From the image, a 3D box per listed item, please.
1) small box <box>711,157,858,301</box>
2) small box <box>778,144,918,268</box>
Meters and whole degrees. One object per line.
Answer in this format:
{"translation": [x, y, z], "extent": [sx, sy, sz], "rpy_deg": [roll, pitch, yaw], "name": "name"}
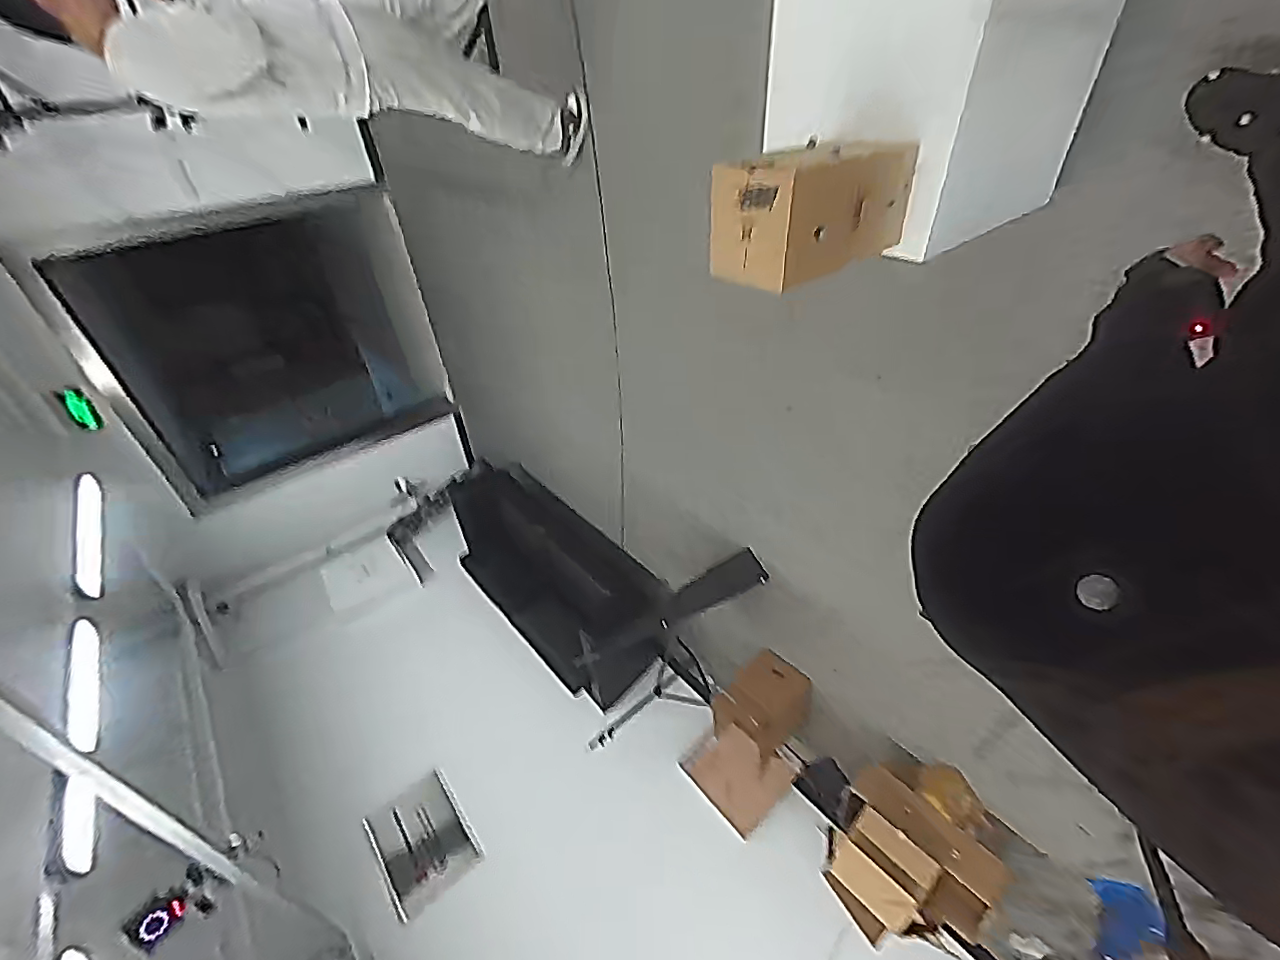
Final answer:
{"translation": [0.237, -0.425, 0.901], "extent": [0.168, 0.176, 0.179], "rpy_deg": [37, 145, 40], "name": "small box"}
{"translation": [0.362, -0.500, 0.978], "extent": [0.179, 0.176, 0.168], "rpy_deg": [36, 144, 40], "name": "small box"}
